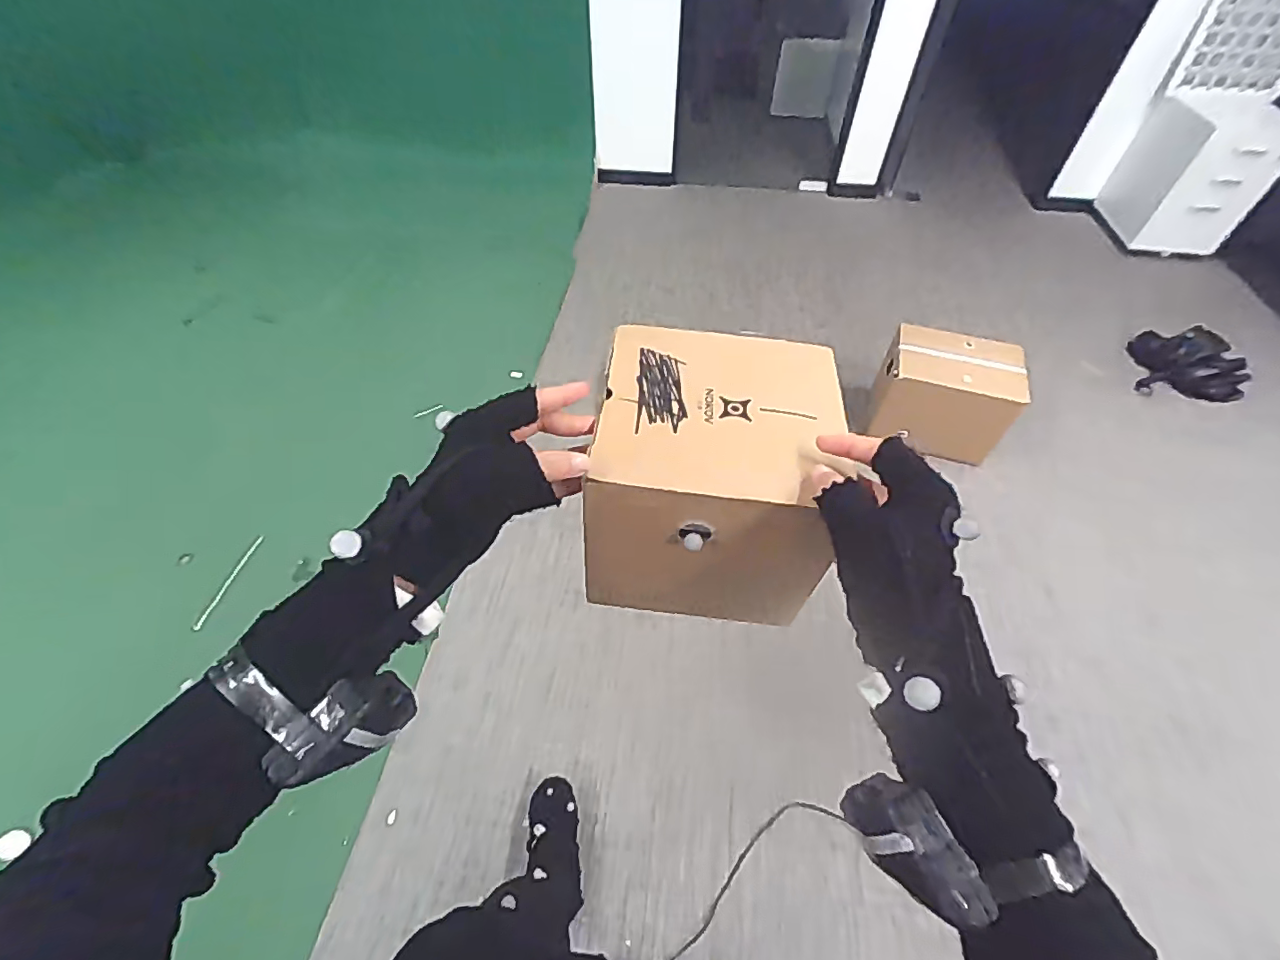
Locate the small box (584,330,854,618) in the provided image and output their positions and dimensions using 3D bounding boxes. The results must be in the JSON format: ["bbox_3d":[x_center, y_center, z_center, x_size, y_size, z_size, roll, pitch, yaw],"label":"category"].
[{"bbox_3d":[0.053,0.001,0.453,0.179,0.176,0.168,7,51,0],"label":"small box"}]
